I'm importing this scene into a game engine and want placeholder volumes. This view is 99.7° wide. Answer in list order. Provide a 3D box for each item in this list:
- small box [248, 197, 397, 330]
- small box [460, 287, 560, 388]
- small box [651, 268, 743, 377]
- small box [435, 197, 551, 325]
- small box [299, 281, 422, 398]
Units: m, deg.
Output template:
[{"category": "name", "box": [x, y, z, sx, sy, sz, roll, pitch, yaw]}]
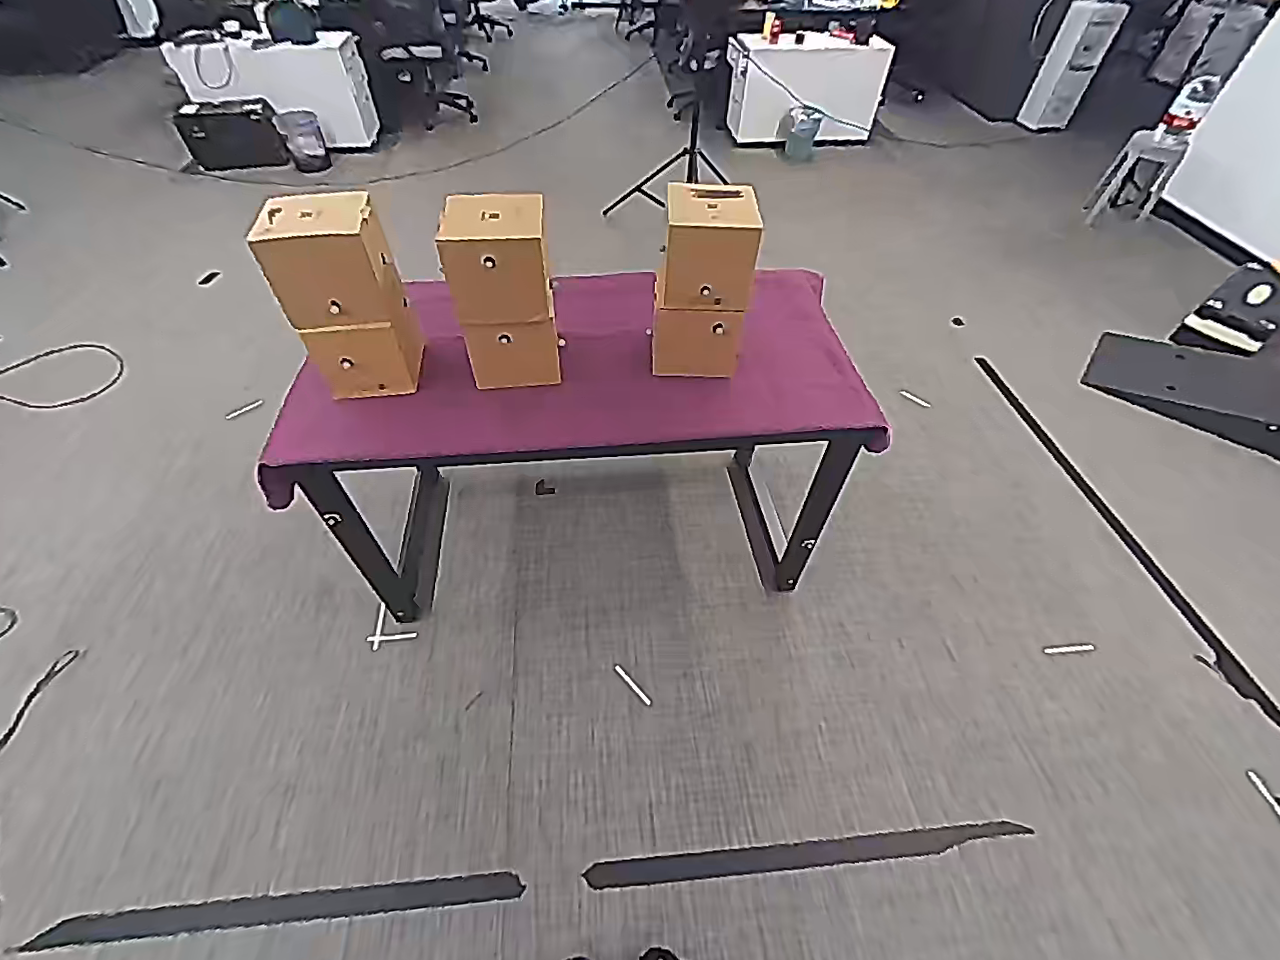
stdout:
[{"category": "small box", "box": [-0.561, -0.393, 0.987, 0.179, 0.176, 0.168, -8, 50, -9]}, {"category": "small box", "box": [-0.265, -0.308, 1.136, 0.179, 0.176, 0.168, -5, 50, -7]}, {"category": "small box", "box": [0.115, -0.338, 1.170, 0.179, 0.176, 0.168, 1, 49, 0]}, {"category": "small box", "box": [-0.261, -0.402, 1.004, 0.179, 0.176, 0.168, -3, 51, -6]}, {"category": "small box", "box": [-0.558, -0.283, 1.108, 0.168, 0.176, 0.179, -7, 50, -7]}]
